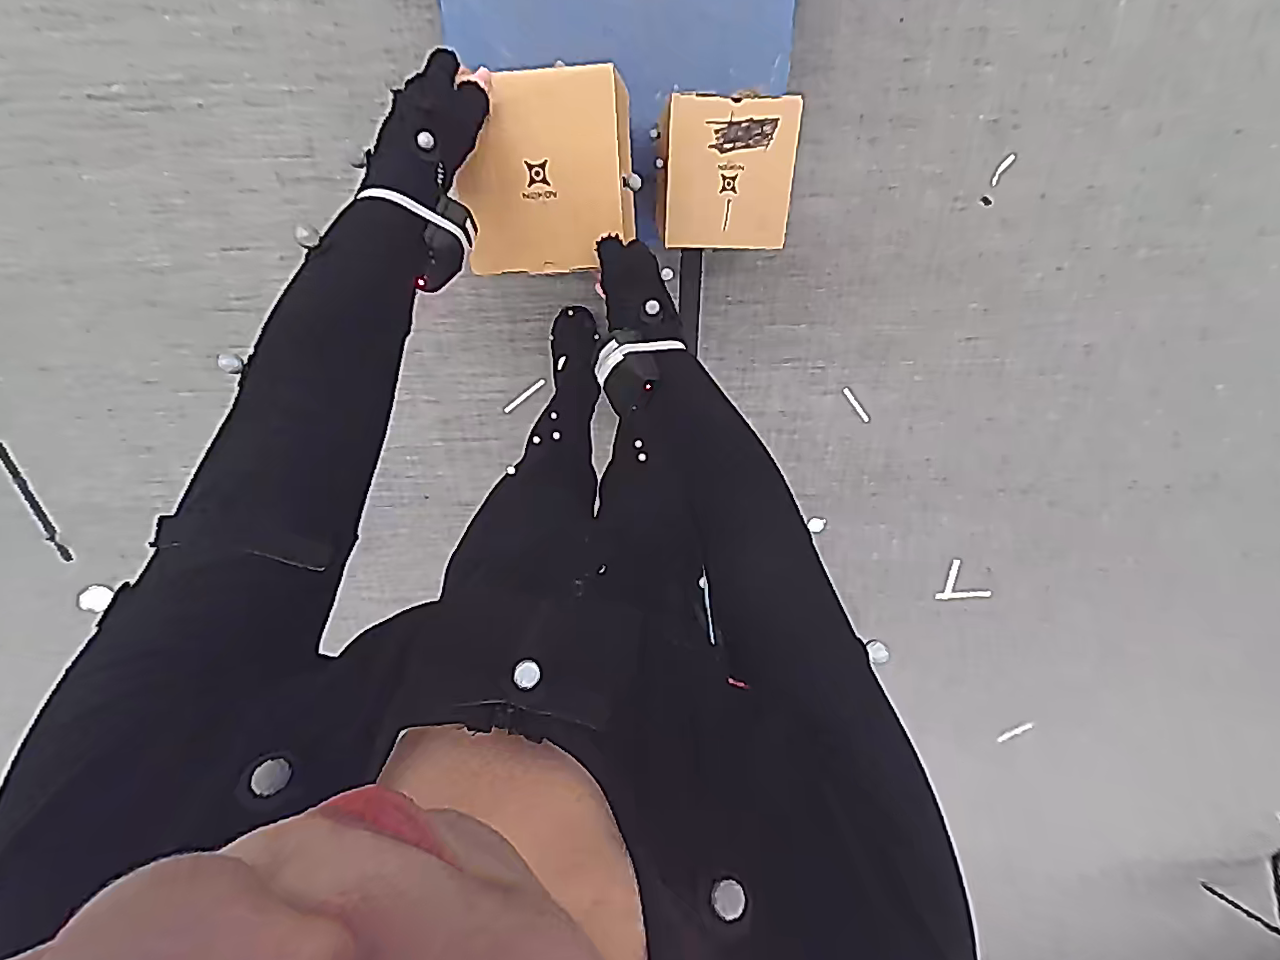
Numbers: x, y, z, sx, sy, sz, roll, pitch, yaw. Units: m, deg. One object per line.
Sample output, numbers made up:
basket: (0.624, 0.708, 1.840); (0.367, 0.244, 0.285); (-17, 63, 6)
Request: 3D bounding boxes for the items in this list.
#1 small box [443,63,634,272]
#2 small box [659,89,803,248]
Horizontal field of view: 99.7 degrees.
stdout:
small box: (-0.095, -0.340, 0.603); (0.168, 0.176, 0.179); (-1, 121, 4)
small box: (0.115, -0.437, 0.771); (0.168, 0.176, 0.179); (1, 120, -2)
